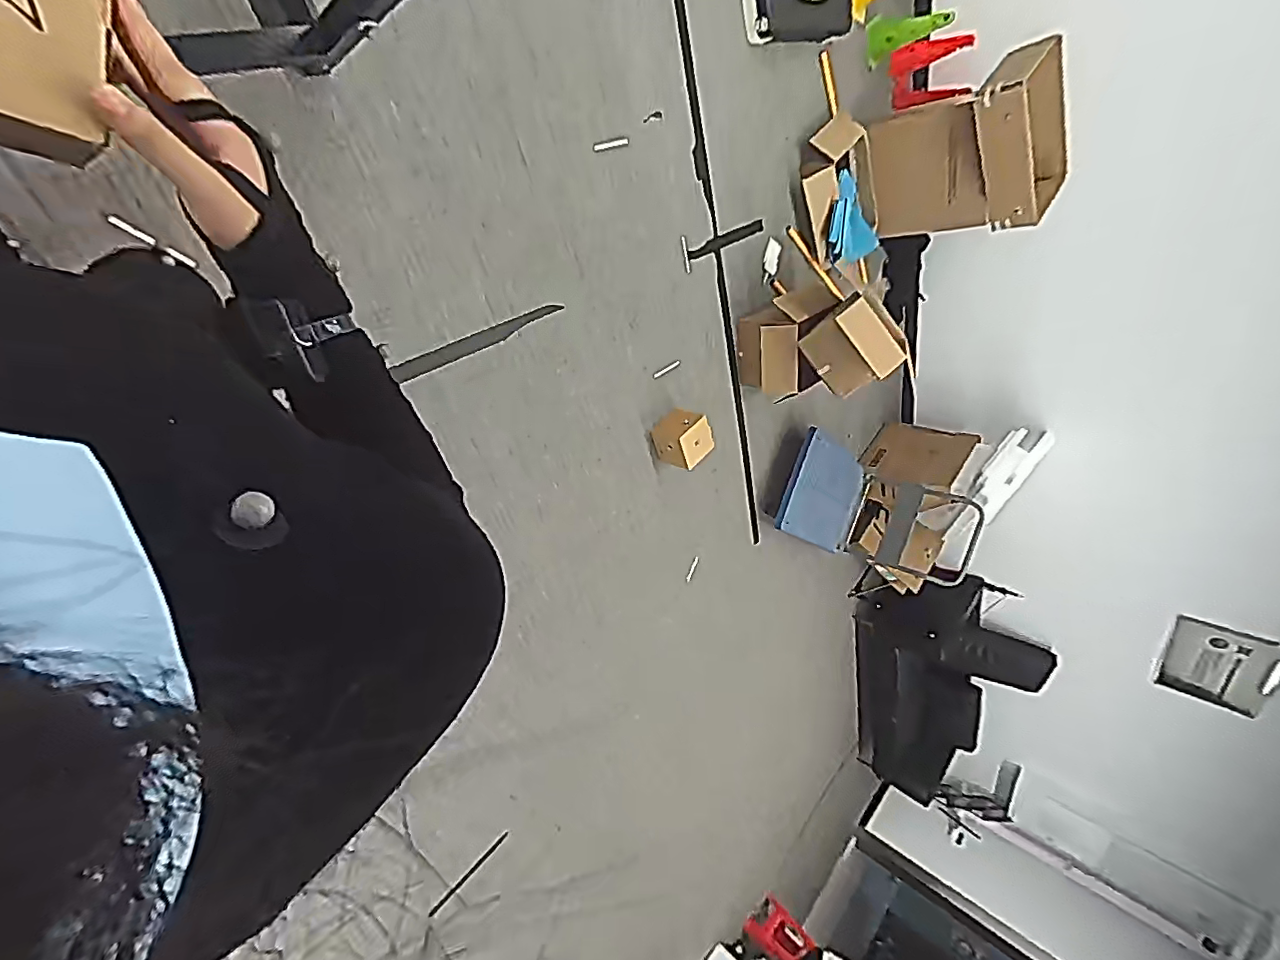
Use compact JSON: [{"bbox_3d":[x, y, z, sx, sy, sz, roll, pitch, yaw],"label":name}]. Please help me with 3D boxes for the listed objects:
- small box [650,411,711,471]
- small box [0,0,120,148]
[{"bbox_3d":[0.160,-0.165,2.234,0.179,0.176,0.168,-43,130,-28],"label":"small box"},{"bbox_3d":[-0.385,-0.287,0.266,0.179,0.176,0.168,-1,108,-50],"label":"small box"}]
